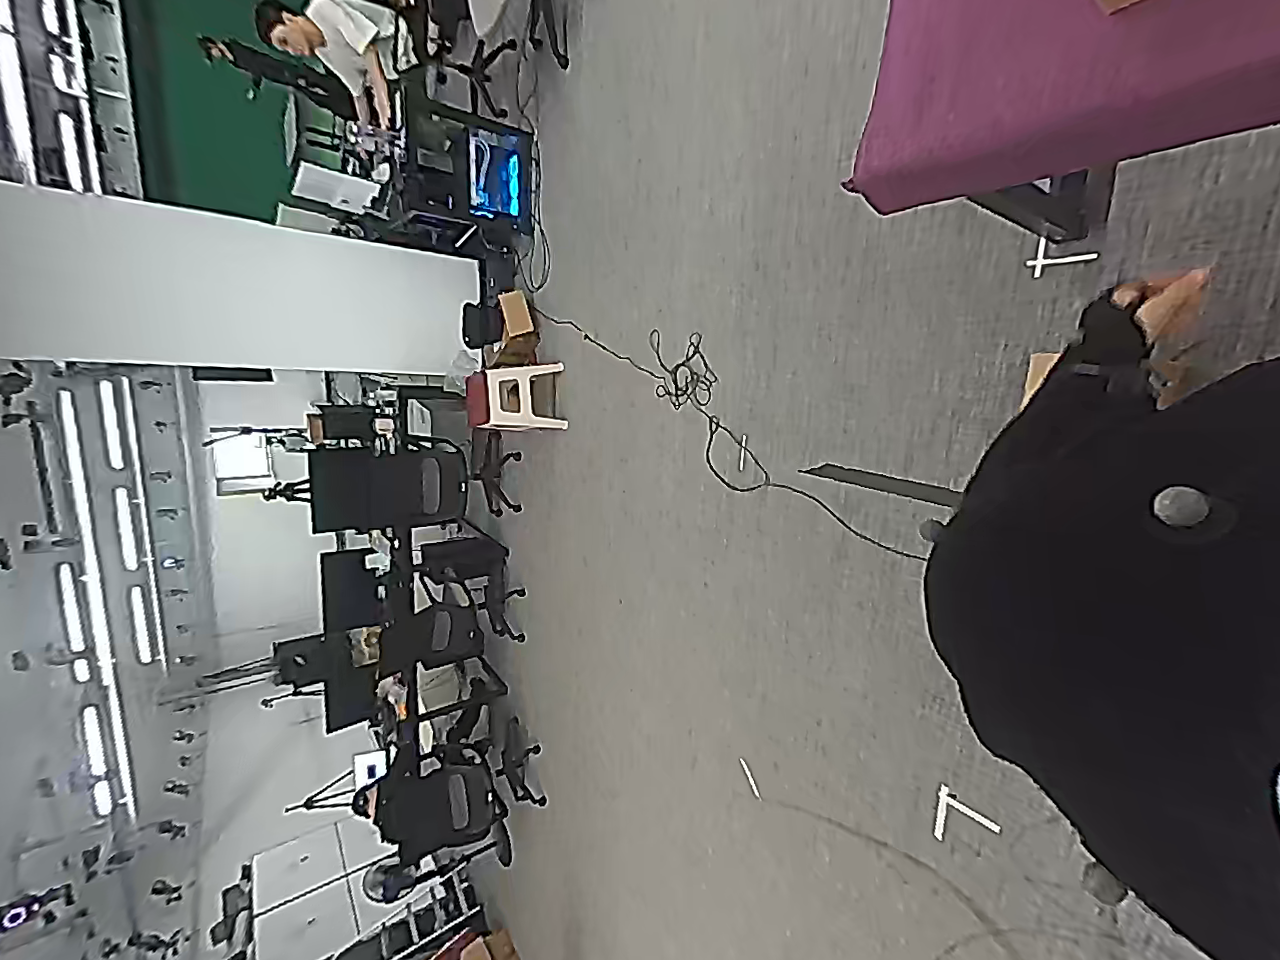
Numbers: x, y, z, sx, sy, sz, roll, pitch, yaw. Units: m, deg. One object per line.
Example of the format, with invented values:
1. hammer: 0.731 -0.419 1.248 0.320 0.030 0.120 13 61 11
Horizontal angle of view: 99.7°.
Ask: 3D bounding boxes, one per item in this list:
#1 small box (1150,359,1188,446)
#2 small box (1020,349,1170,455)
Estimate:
1. small box: 0.986 -0.169 1.120 0.168 0.176 0.179 27 116 49
2. small box: 0.857 -0.150 1.018 0.168 0.176 0.179 20 111 52
